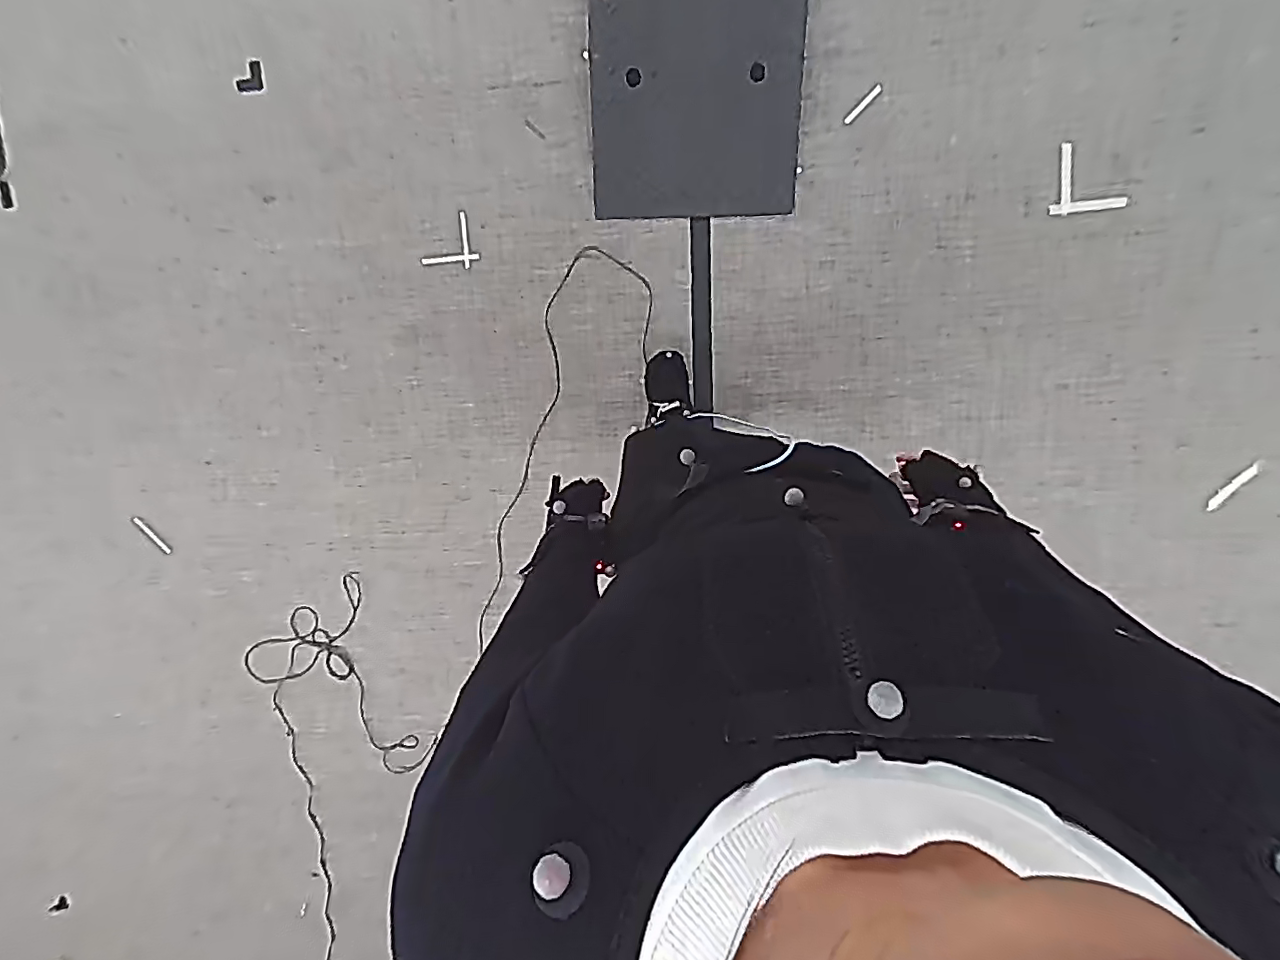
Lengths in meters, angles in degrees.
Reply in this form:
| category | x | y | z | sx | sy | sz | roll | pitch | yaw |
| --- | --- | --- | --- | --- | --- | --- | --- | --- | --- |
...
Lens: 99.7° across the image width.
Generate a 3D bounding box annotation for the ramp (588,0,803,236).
| category | x | y | z | sx | sy | sz | roll | pitch | yaw |
| --- | --- | --- | --- | --- | --- | --- | --- | --- | --- |
| ramp | 0.124 | -1.106 | 1.222 | 0.509 | 0.206 | 0.991 | -3 | 97 | 4 |
